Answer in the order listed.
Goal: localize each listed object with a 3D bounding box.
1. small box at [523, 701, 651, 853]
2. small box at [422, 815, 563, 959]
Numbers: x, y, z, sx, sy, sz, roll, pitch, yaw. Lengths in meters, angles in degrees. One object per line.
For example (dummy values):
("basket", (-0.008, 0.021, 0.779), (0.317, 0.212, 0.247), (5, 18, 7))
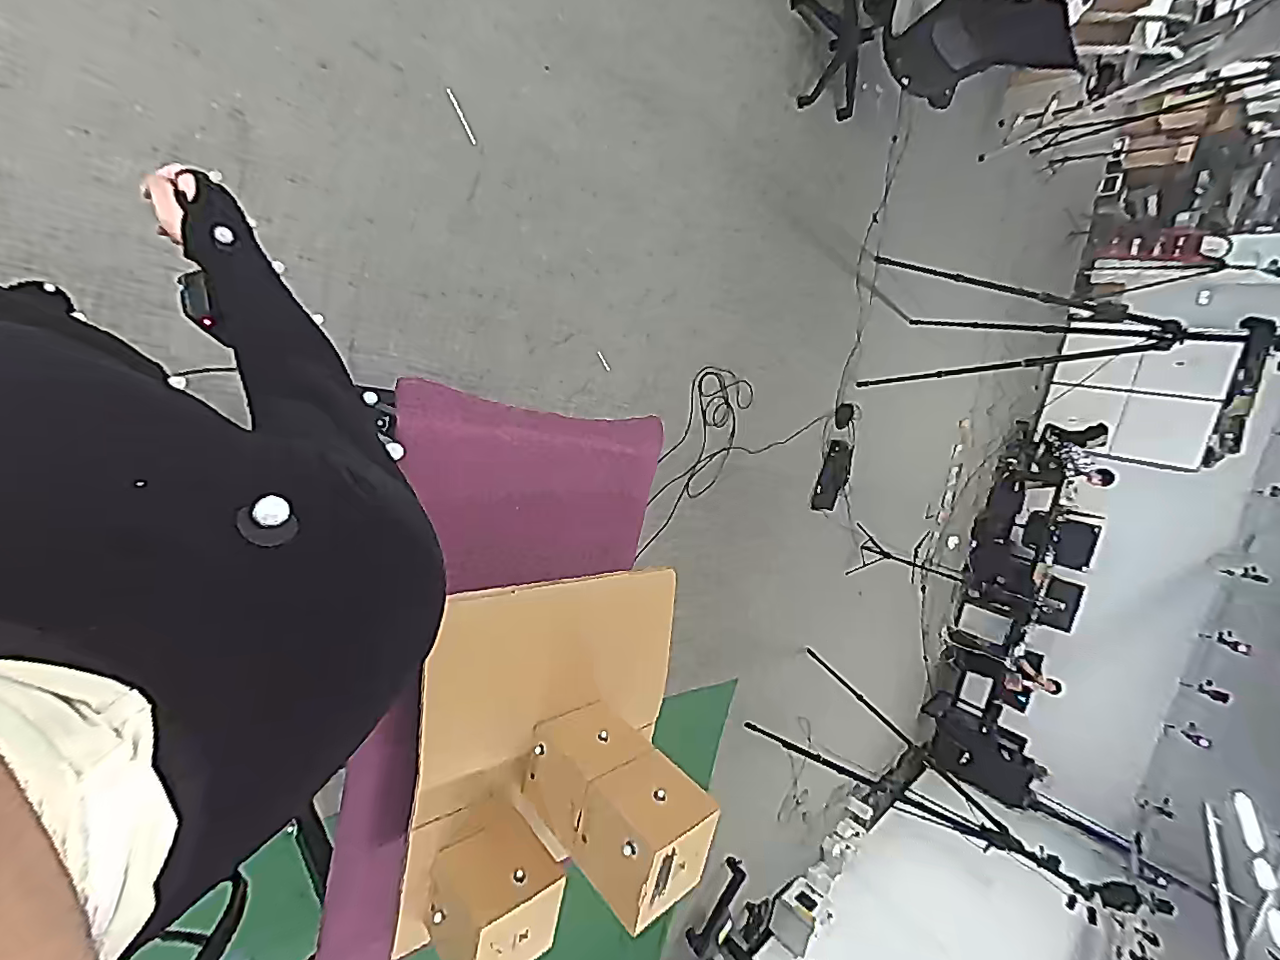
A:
("small box", (-0.110, 0.575, 1.073), (0.179, 0.176, 0.168), (0, 108, -46))
("small box", (-0.271, 0.765, 0.991), (0.179, 0.176, 0.168), (1, 105, -46))
